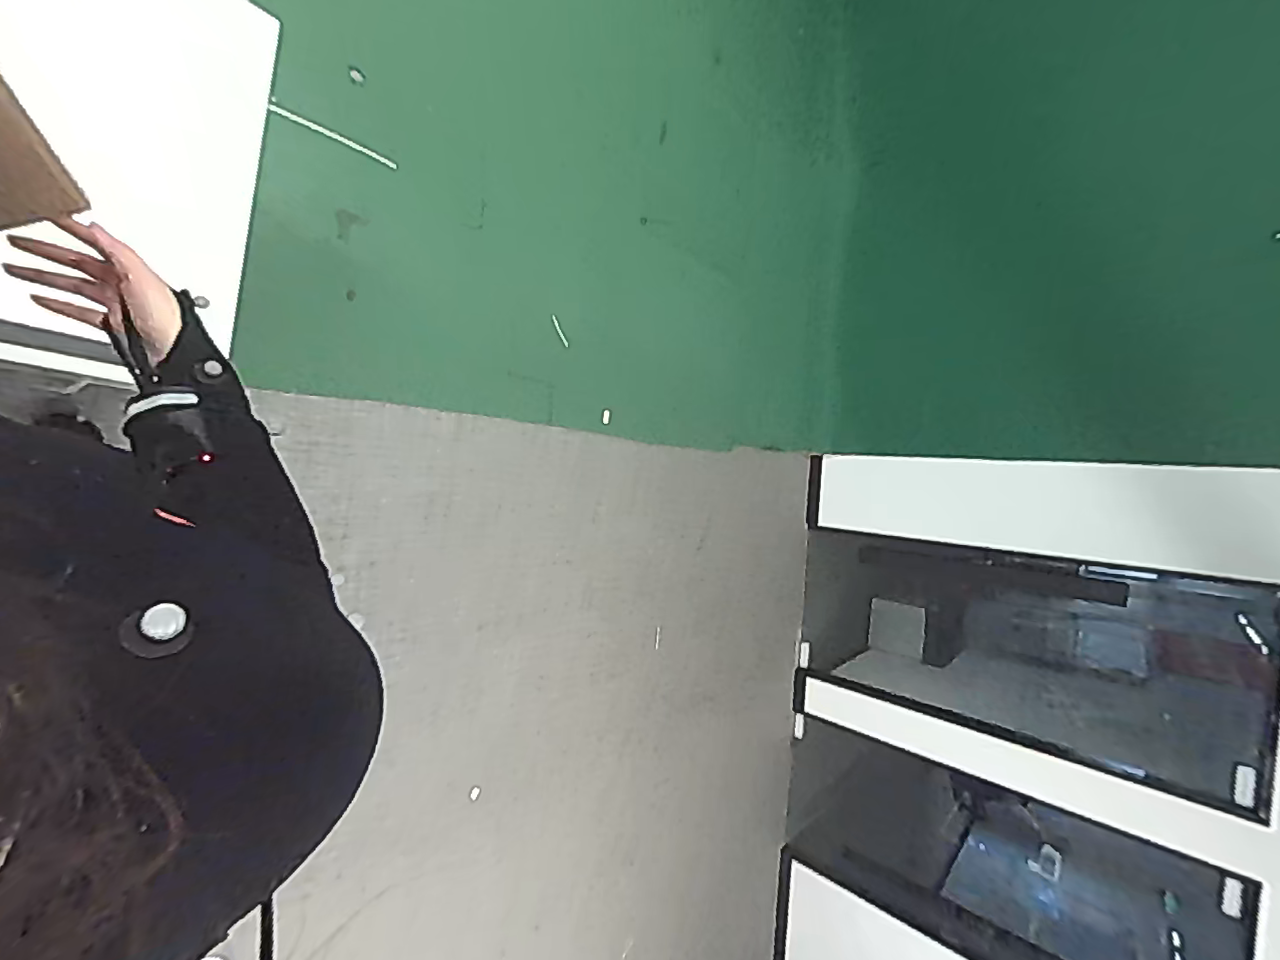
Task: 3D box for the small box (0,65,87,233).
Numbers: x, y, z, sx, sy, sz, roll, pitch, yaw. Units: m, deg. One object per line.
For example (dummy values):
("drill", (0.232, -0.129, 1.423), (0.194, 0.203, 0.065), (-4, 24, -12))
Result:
("small box", (-0.471, -0.233, 0.286), (0.179, 0.176, 0.168), (-36, 106, -27))
